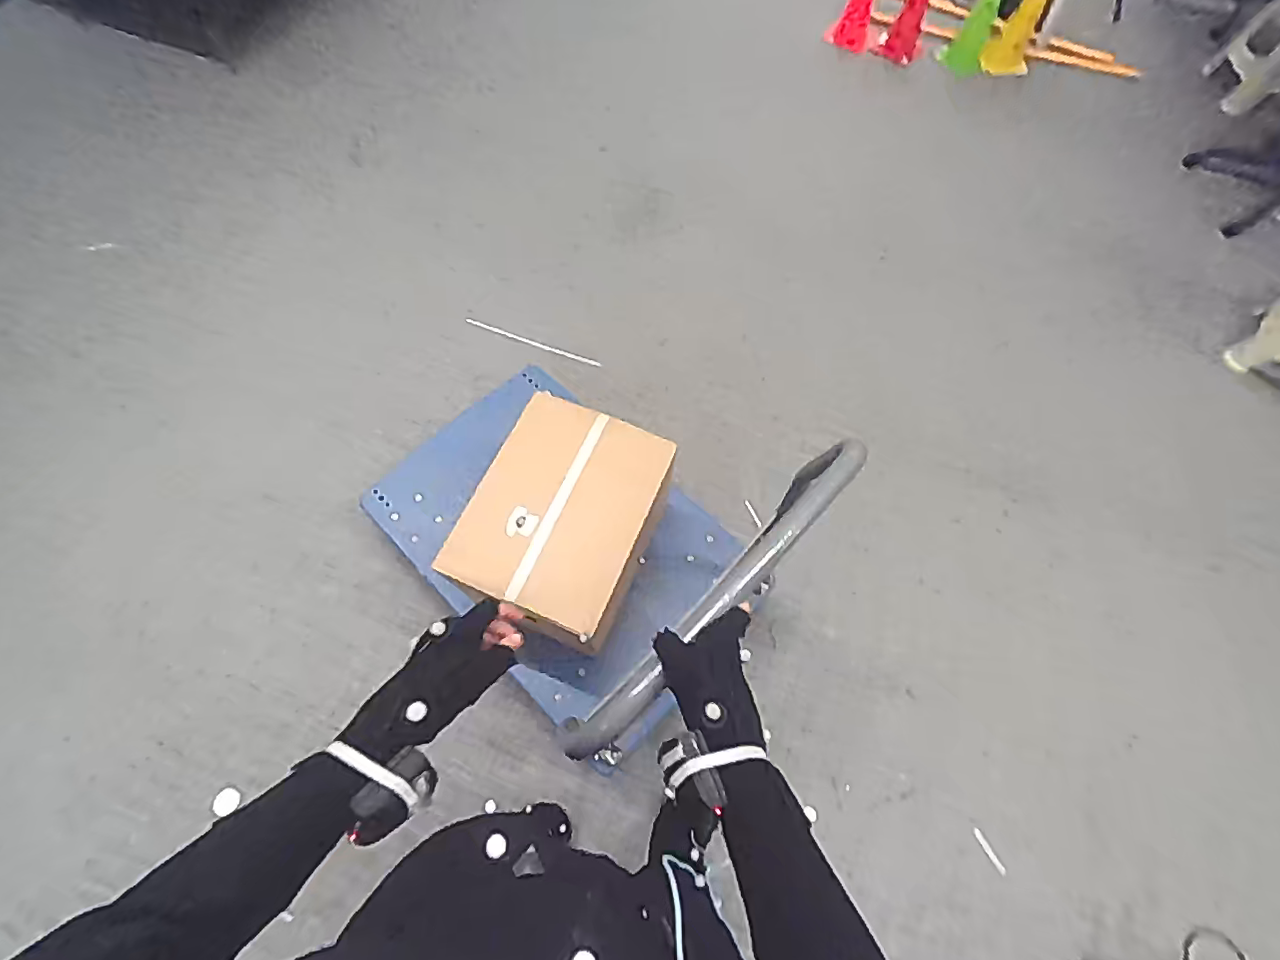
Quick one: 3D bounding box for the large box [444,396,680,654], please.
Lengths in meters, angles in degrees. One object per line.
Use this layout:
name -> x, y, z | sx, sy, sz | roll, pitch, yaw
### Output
large box -> -0.139, 0.107, 1.142 | 0.320, 0.320, 0.408 | 22, 68, 8
